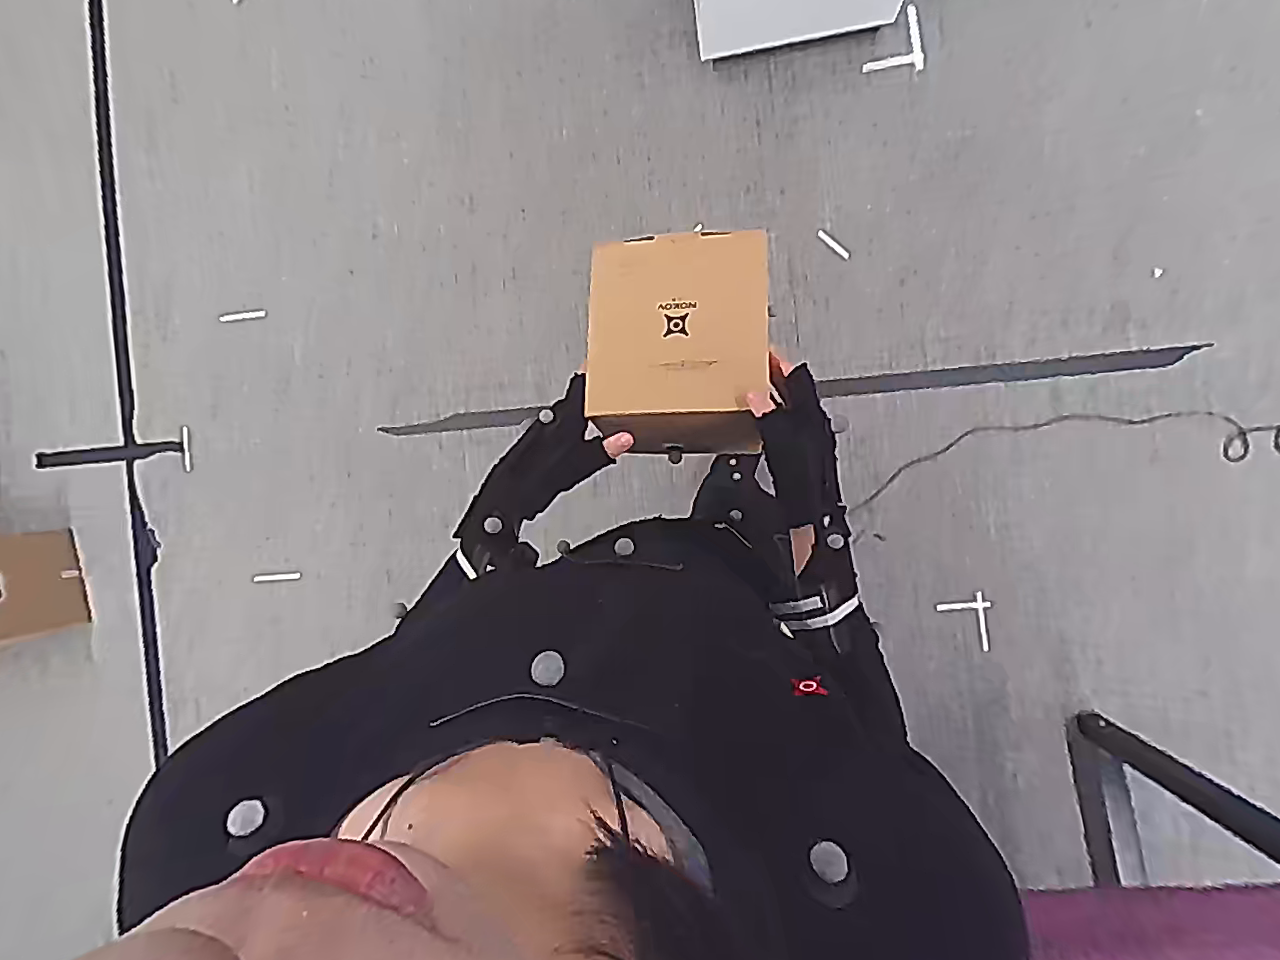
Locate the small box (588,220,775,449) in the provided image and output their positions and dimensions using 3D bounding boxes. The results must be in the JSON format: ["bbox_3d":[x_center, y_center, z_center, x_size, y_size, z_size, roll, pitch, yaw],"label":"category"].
[{"bbox_3d":[0.048,-0.137,0.564,0.168,0.176,0.179,0,80,9],"label":"small box"}]
